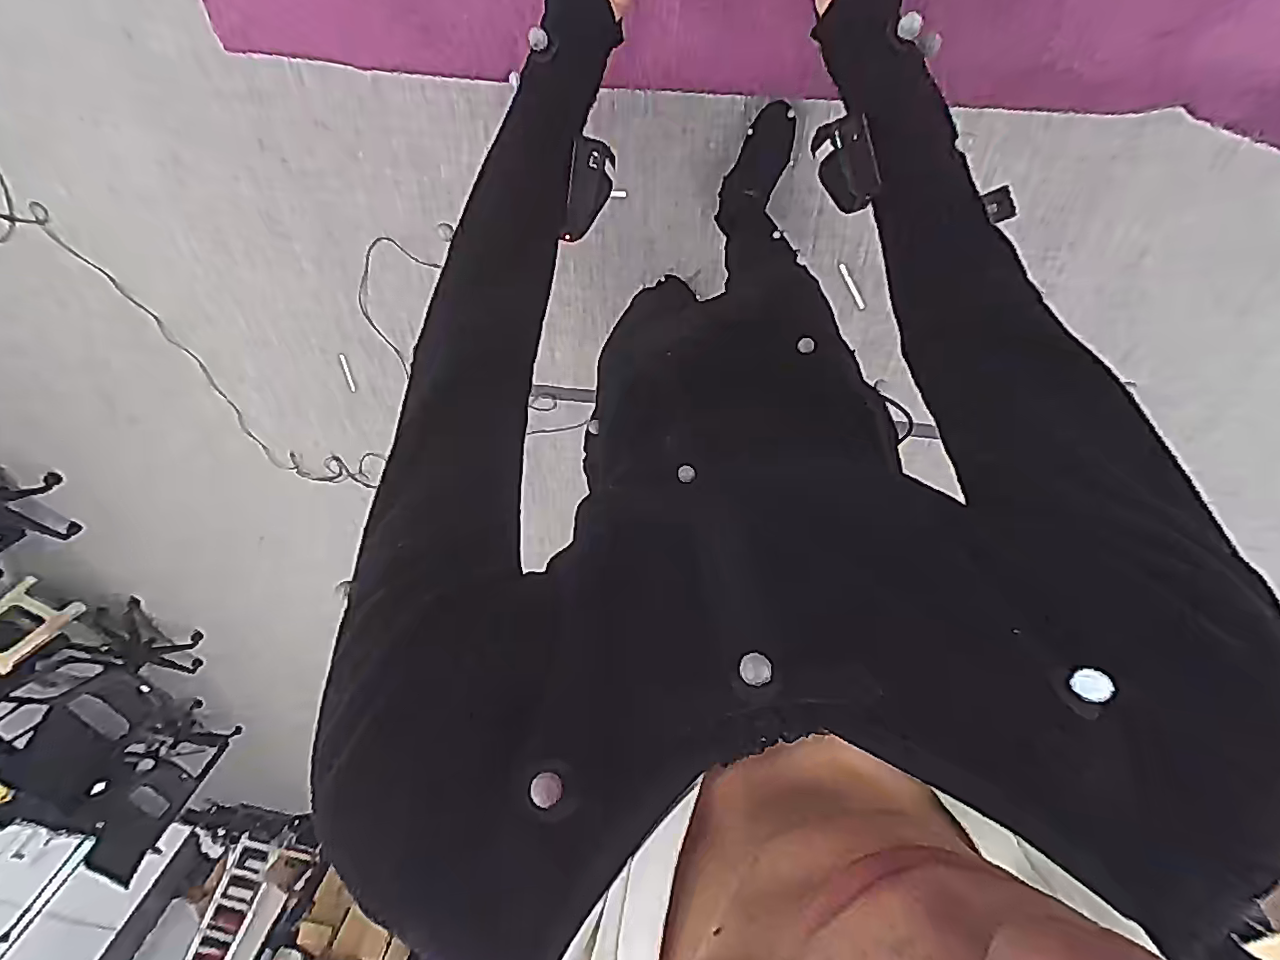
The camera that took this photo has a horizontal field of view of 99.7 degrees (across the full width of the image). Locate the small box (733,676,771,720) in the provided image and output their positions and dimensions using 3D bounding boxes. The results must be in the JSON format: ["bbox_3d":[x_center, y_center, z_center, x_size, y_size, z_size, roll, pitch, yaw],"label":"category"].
[{"bbox_3d":[0.535,1.068,2.588,0.168,0.176,0.179,3,128,9],"label":"small box"}]
